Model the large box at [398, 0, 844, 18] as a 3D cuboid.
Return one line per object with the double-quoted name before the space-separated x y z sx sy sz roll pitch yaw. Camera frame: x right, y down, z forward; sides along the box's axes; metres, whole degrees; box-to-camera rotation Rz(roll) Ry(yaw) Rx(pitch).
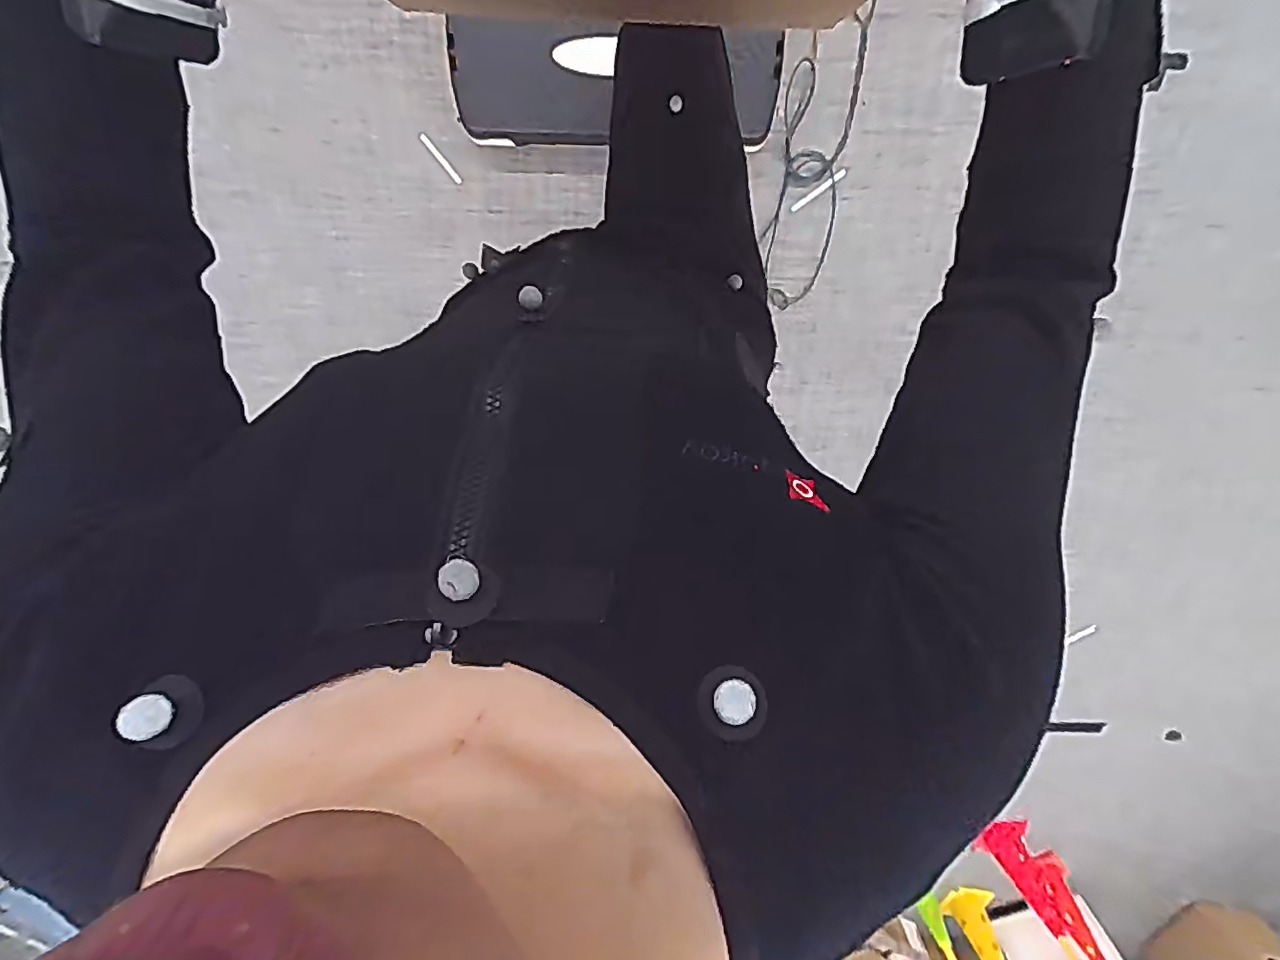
"large box" -0.017 -0.495 0.303 0.408 0.320 0.320 1 120 -1
